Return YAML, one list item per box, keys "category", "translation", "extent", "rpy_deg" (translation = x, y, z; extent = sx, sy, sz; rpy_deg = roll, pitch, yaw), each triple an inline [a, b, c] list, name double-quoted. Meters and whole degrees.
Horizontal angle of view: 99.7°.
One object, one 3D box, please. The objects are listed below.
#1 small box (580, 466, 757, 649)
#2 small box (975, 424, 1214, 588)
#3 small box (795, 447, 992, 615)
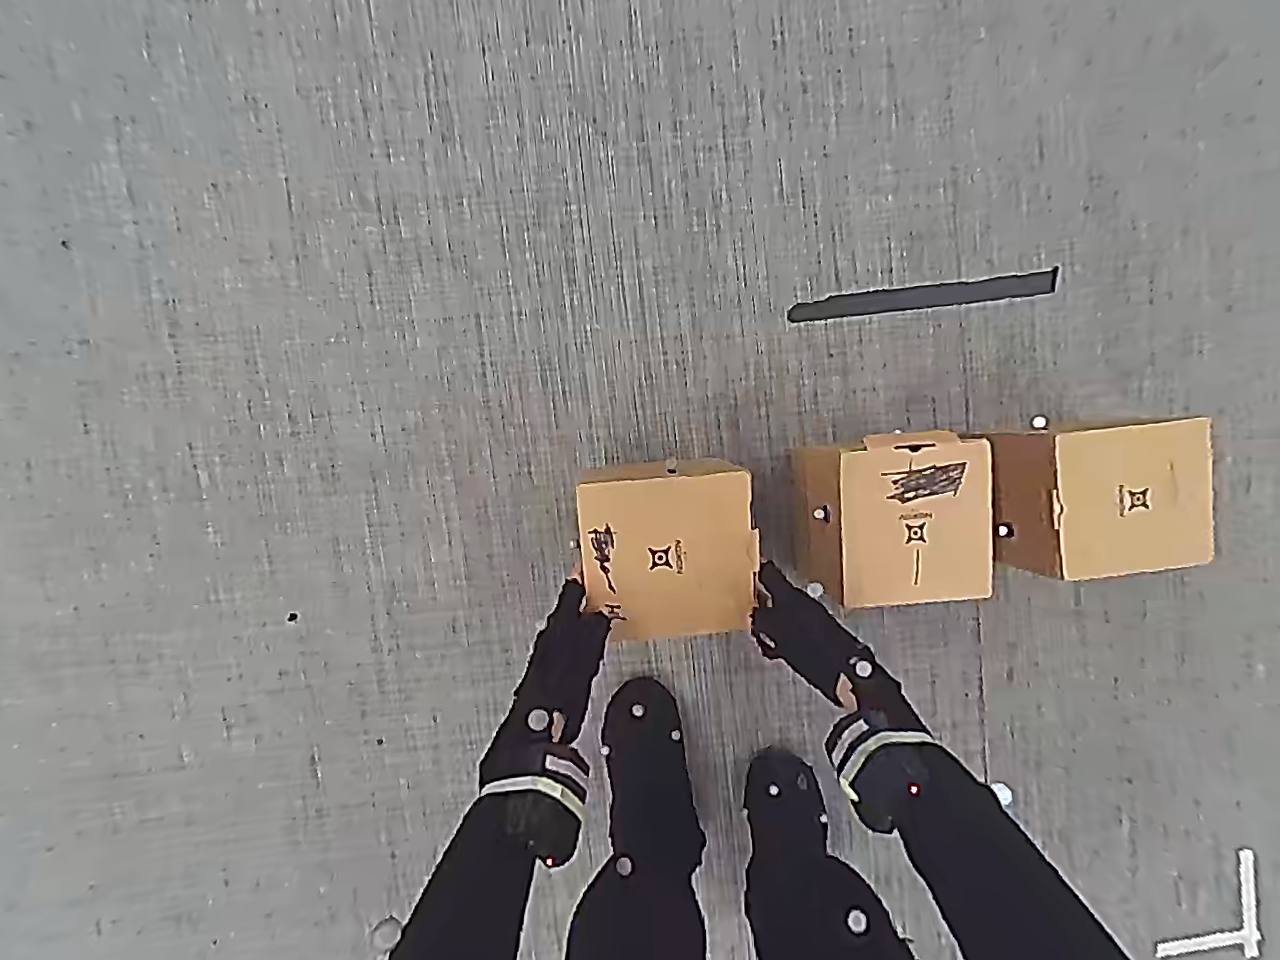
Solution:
- category: "small box"
  translation: [0.025, 0.076, 0.622]
  extent: [0.179, 0.176, 0.168]
  rpy_deg: [-4, 97, -3]
- category: "small box"
  translation: [0.532, 0.023, 0.664]
  extent: [0.179, 0.176, 0.168]
  rpy_deg: [-7, 96, -1]
- category: "small box"
  translation: [0.295, 0.051, 0.661]
  extent: [0.168, 0.176, 0.179]
  rpy_deg: [-4, 95, 0]
